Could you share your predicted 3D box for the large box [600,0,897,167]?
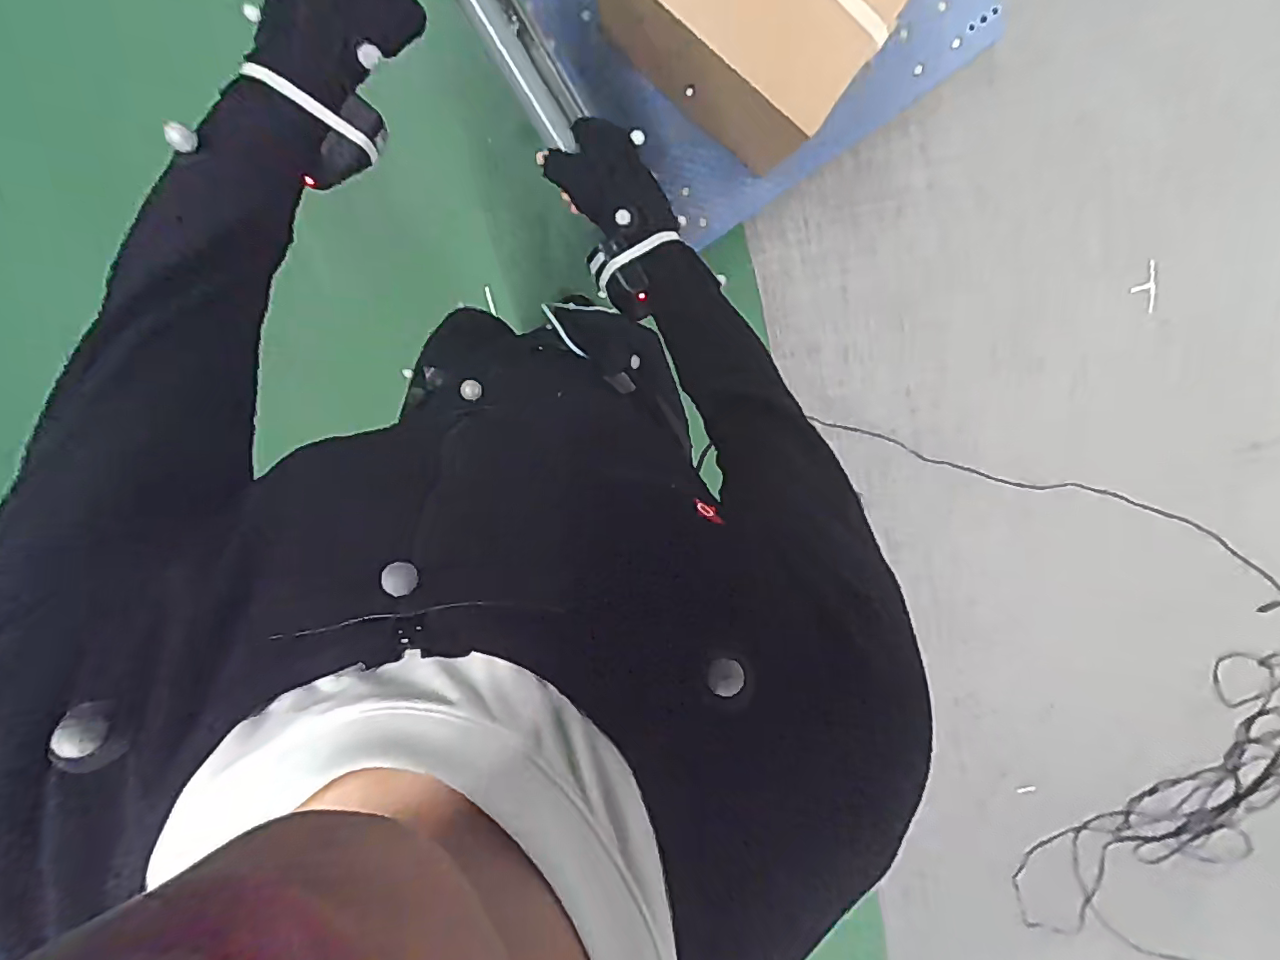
[{"bbox_3d":[0.180,-0.807,0.893,0.408,0.320,0.320,33,105,-12],"label":"large box"}]
